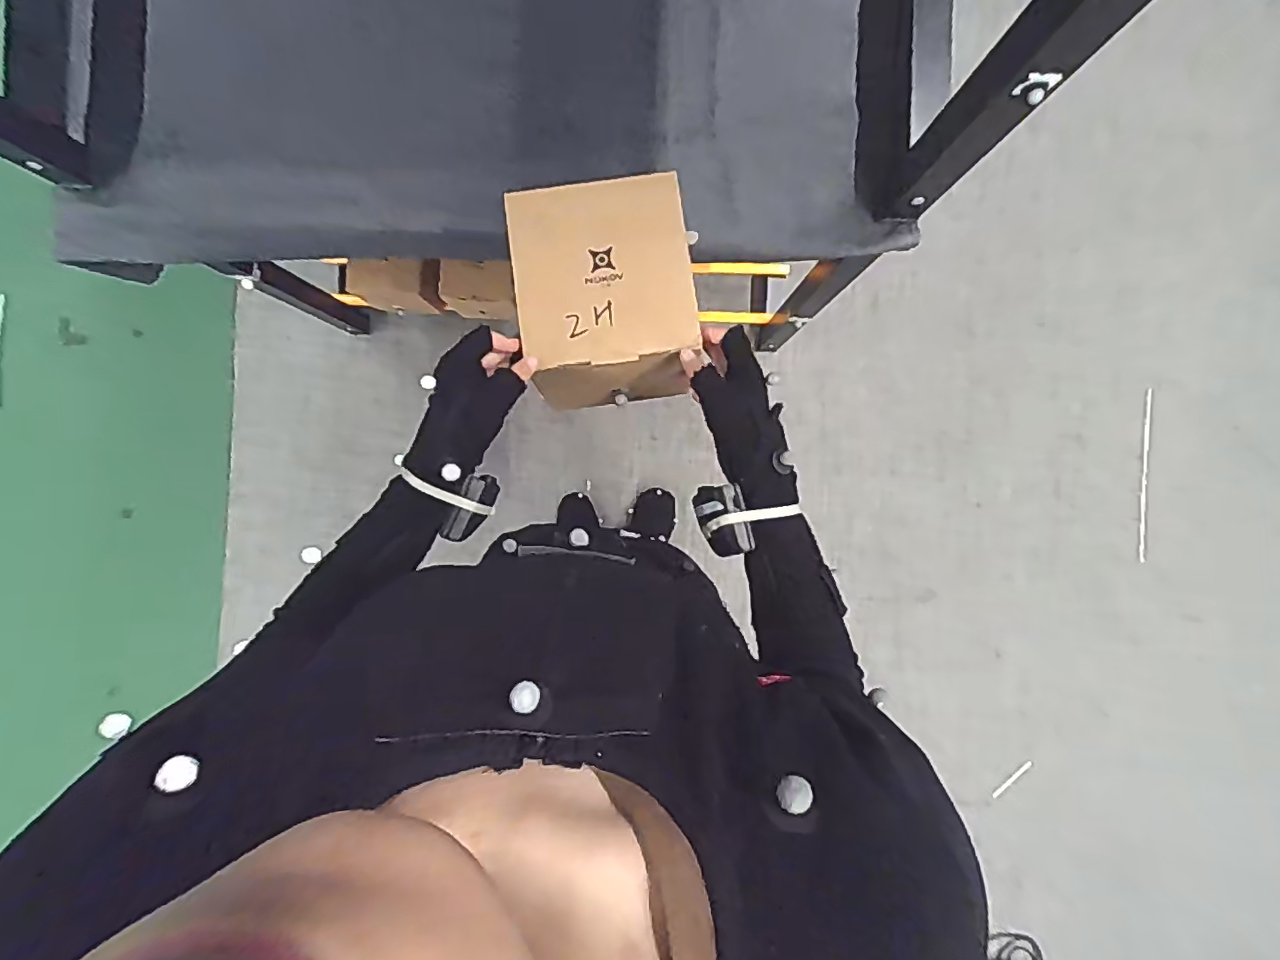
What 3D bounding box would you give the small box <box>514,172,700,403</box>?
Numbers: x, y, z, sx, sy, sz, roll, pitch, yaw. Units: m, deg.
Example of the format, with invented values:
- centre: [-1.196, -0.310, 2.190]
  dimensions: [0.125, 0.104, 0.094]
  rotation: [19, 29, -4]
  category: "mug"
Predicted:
- centre: [-0.033, -0.196, 0.591]
  dimensions: [0.168, 0.176, 0.179]
  rotation: [-7, 85, 0]
  category: "small box"
